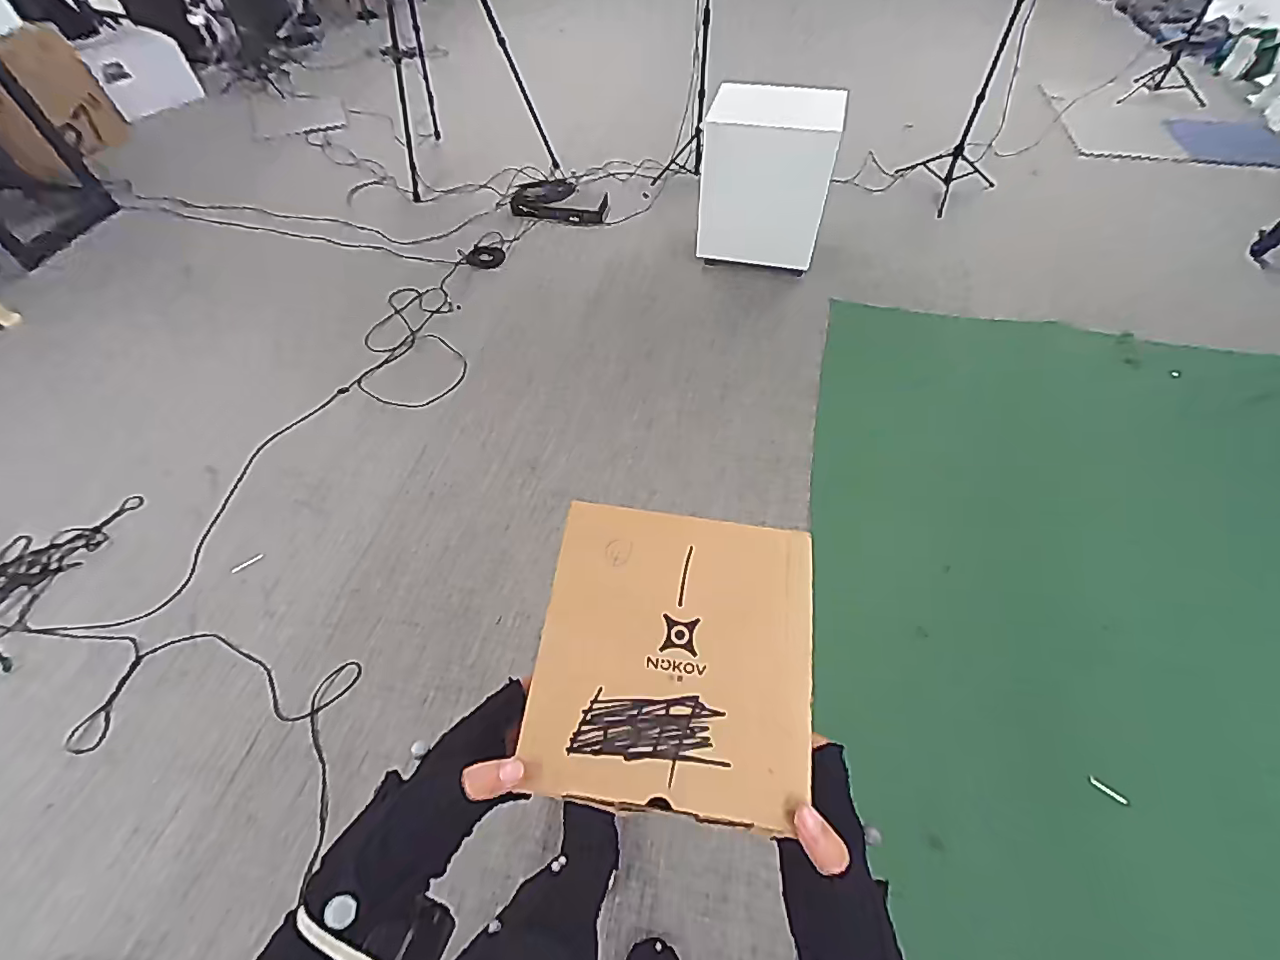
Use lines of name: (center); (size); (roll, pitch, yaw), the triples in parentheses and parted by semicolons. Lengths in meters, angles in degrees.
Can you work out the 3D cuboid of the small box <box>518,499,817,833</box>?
small box: (0.024, 0.136, 0.401); (0.168, 0.176, 0.179); (8, 63, 3)
